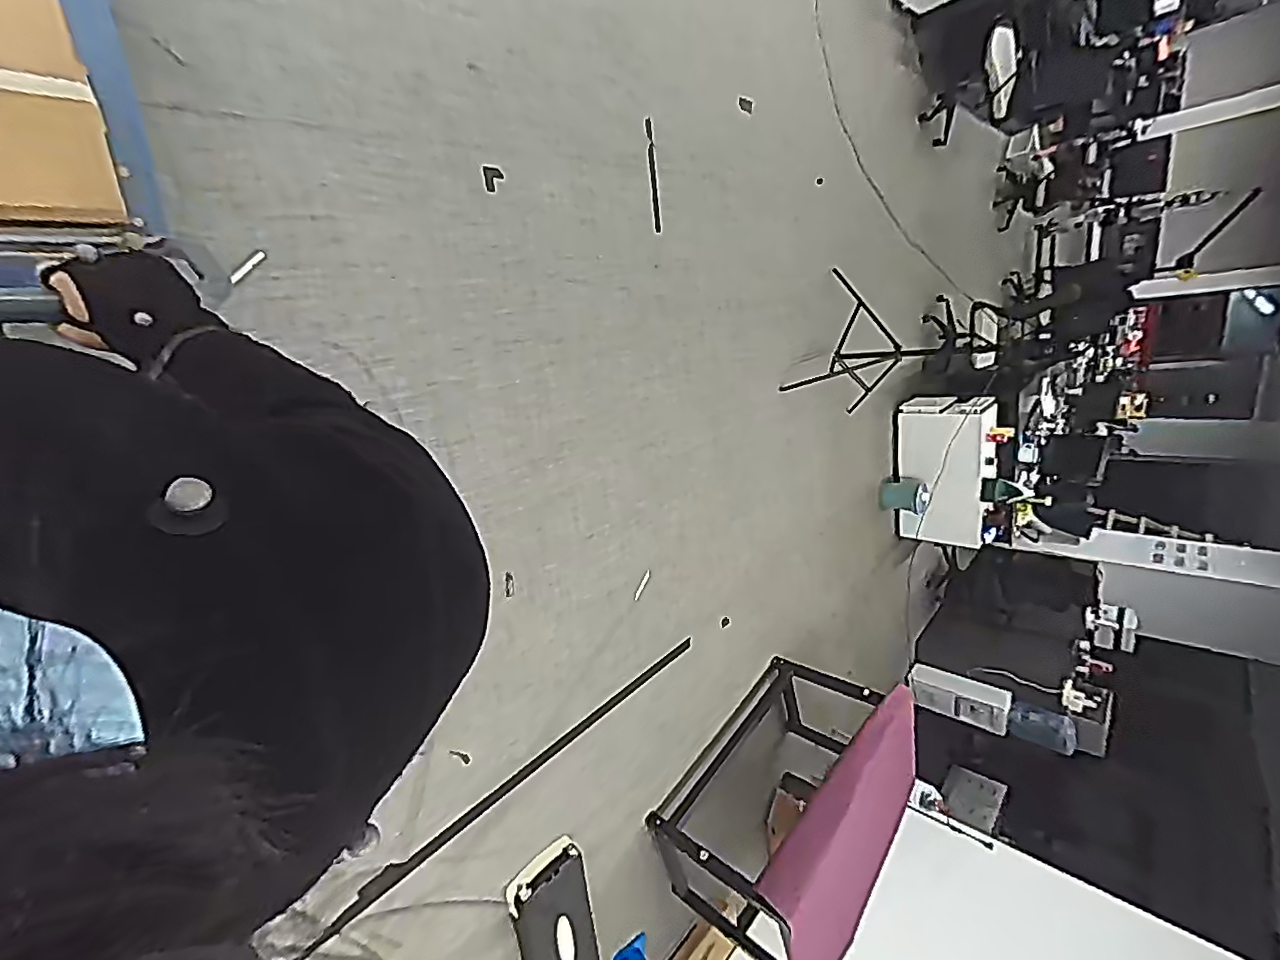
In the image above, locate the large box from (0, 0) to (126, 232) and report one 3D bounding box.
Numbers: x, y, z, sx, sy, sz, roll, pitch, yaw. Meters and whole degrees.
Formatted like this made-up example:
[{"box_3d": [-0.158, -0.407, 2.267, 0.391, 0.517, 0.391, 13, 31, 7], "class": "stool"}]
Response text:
[{"box_3d": [-0.979, -0.492, 0.678, 0.408, 0.320, 0.320, -22, 120, -43], "class": "large box"}]
